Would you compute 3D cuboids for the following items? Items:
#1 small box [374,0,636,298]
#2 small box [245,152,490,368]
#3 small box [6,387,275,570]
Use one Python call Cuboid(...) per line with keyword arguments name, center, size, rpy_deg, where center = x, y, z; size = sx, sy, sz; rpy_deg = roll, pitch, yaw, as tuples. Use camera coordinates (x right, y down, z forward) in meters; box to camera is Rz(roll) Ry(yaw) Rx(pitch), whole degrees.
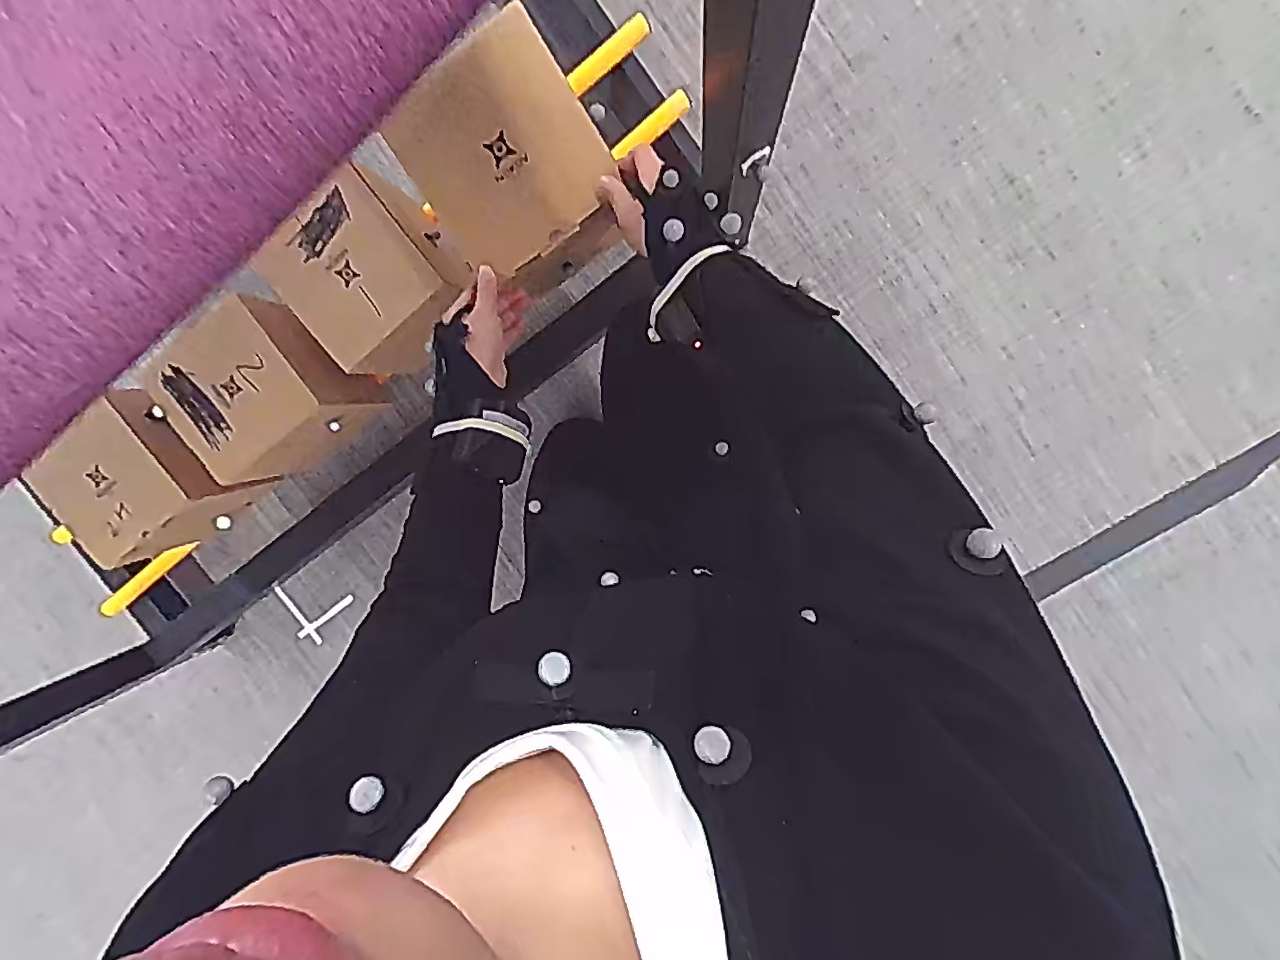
Cuboid(name="small box", center=(-0.117, -0.307, 0.549), size=(0.168, 0.176, 0.179), rpy_deg=(-32, 102, 9))
Cuboid(name="small box", center=(-0.325, -0.255, 0.681), size=(0.168, 0.176, 0.179), rpy_deg=(-37, 96, 11))
Cuboid(name="small box", center=(-0.668, -0.009, 0.746), size=(0.168, 0.176, 0.179), rpy_deg=(-35, 96, 8))
